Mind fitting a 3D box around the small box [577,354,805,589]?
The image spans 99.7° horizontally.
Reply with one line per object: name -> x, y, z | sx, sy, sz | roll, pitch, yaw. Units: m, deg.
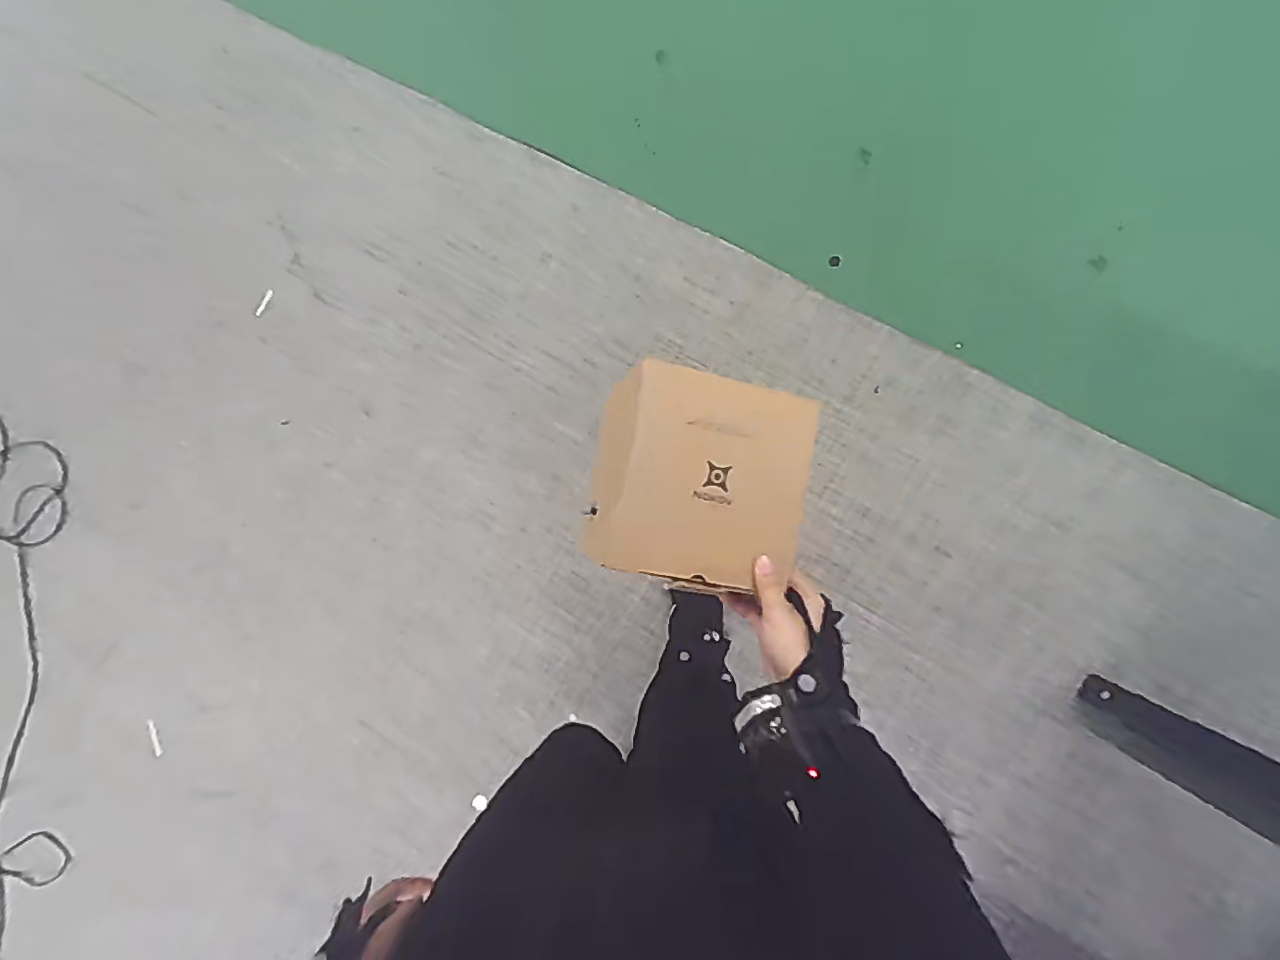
small box -> 0.037, -0.002, 0.540 | 0.168, 0.176, 0.179 | 12, 84, -14
